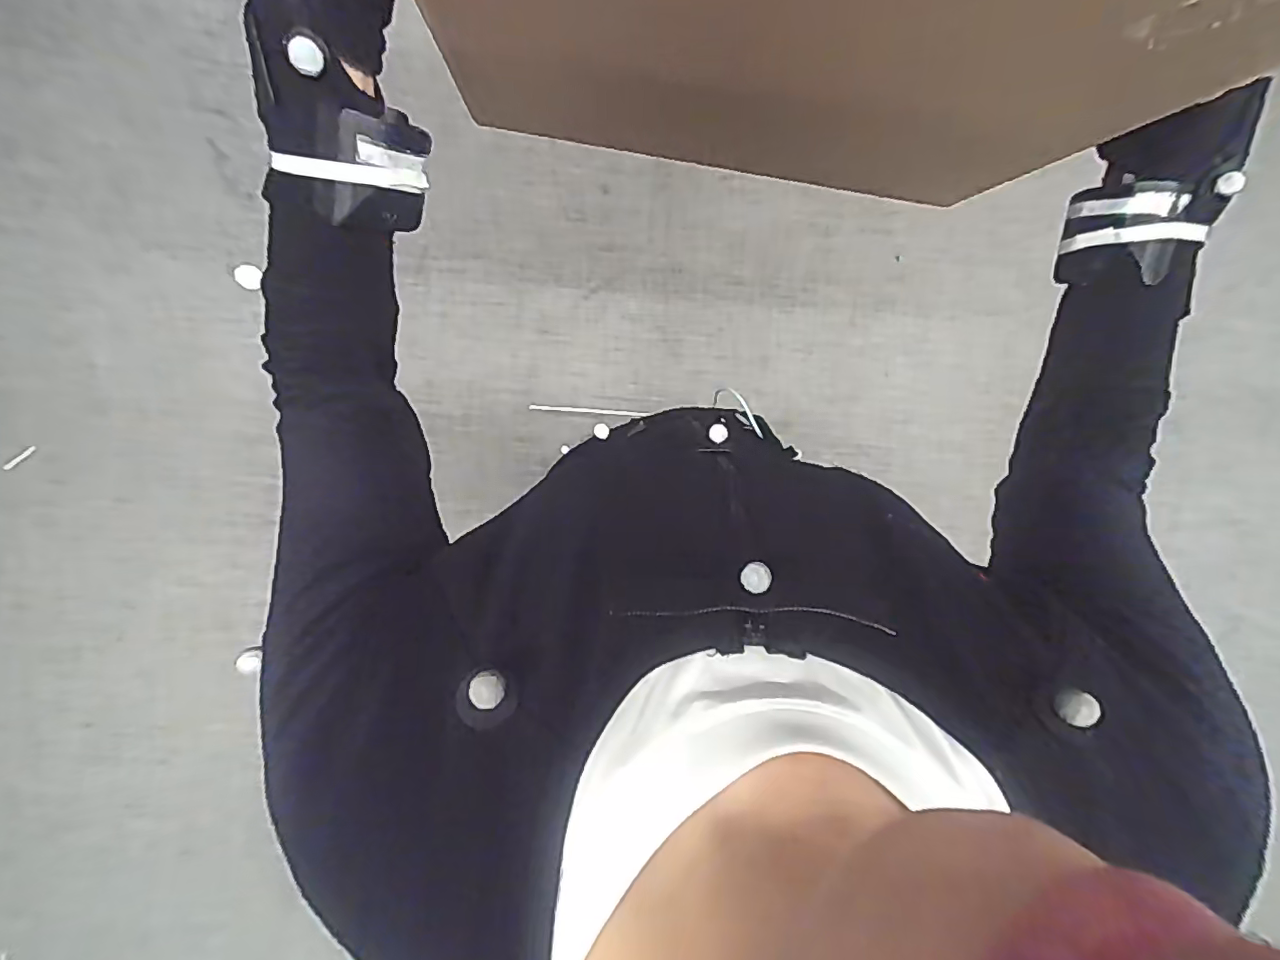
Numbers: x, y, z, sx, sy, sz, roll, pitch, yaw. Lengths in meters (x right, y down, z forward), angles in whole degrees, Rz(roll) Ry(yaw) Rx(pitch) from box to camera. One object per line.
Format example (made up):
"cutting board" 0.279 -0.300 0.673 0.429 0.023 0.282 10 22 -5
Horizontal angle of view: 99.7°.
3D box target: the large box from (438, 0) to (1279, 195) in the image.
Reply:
"large box" 0.104 -0.376 0.266 0.408 0.320 0.320 6 102 -8
